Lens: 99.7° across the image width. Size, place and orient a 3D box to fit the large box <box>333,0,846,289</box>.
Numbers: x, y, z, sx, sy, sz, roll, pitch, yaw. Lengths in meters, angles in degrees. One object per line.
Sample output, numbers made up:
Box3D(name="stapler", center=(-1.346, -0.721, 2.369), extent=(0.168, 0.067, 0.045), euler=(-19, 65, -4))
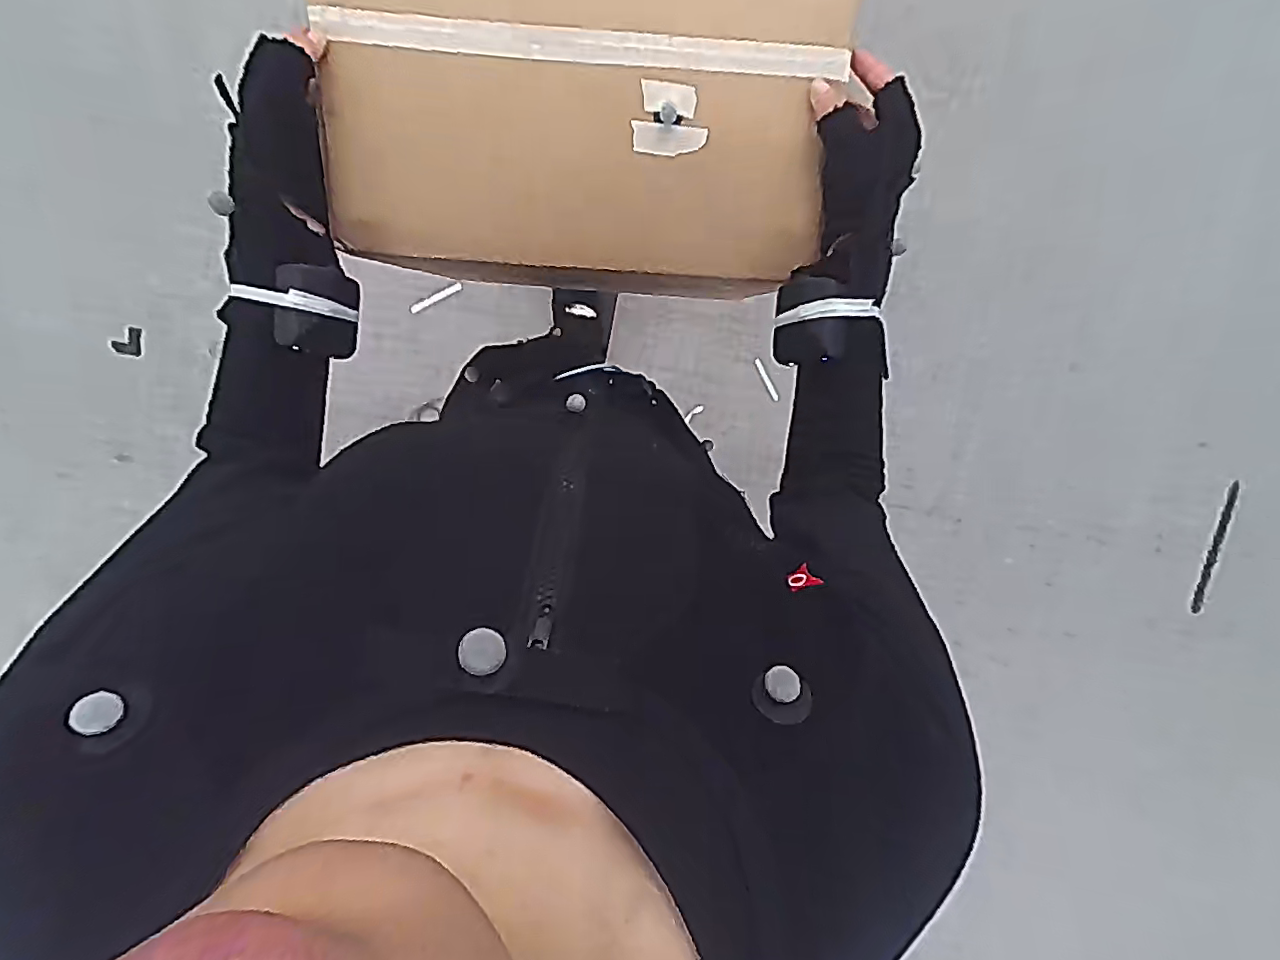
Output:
Box3D(name="large box", center=(-0.045, -0.381, 0.568), extent=(0.408, 0.320, 0.320), euler=(3, 107, -3))
